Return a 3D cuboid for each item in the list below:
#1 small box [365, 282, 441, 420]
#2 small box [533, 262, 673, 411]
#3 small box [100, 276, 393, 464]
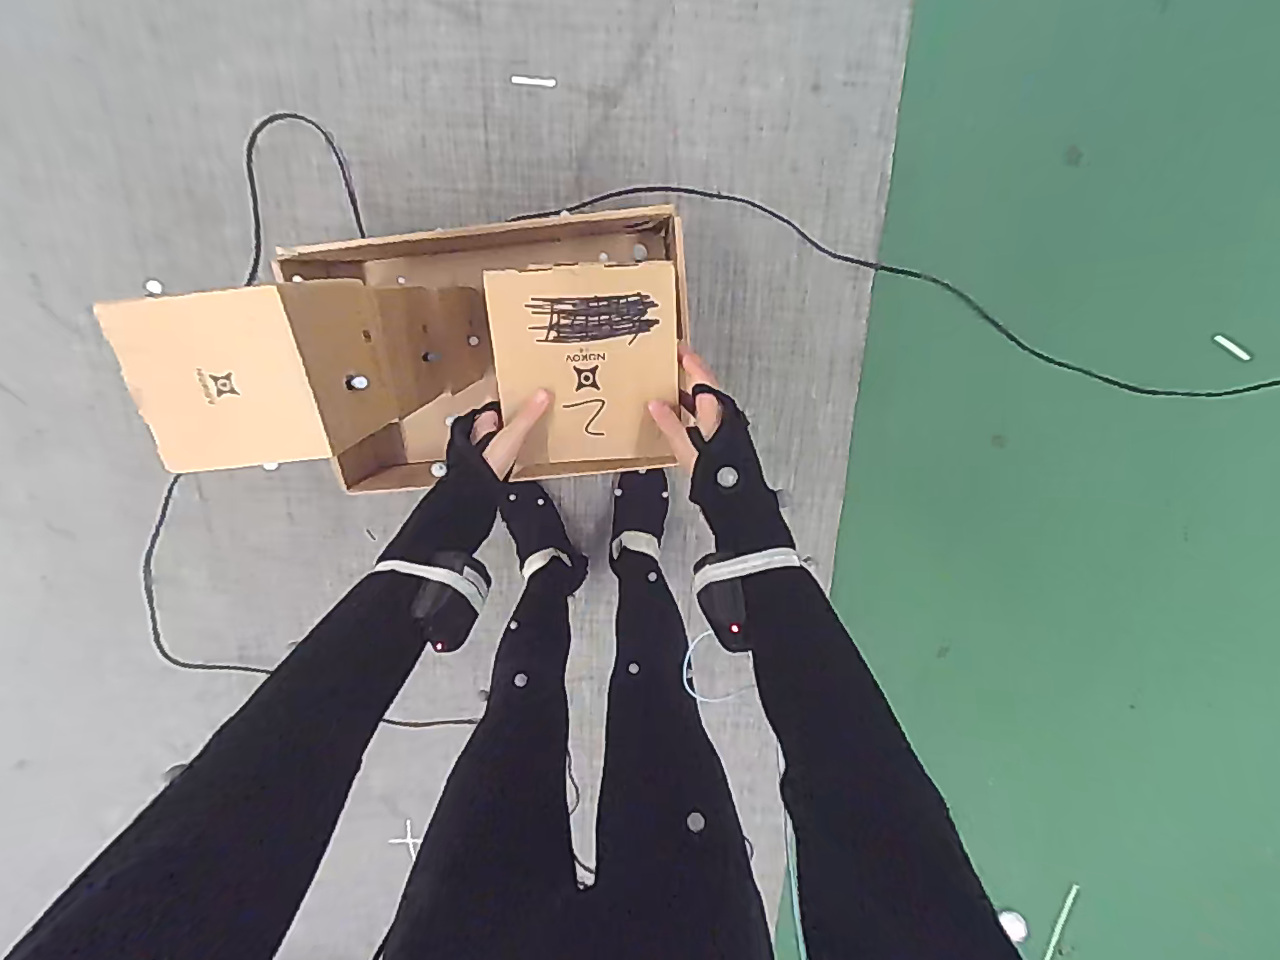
[{"bbox_3d":[-0.393,-0.181,0.736,0.179,0.176,0.168,-1,110,-1],"label":"small box"},{"bbox_3d":[-0.044,-0.196,0.729,0.168,0.176,0.179,-1,108,-1],"label":"small box"},{"bbox_3d":[-0.391,-0.126,0.583,0.179,0.176,0.168,-5,111,2],"label":"small box"}]
